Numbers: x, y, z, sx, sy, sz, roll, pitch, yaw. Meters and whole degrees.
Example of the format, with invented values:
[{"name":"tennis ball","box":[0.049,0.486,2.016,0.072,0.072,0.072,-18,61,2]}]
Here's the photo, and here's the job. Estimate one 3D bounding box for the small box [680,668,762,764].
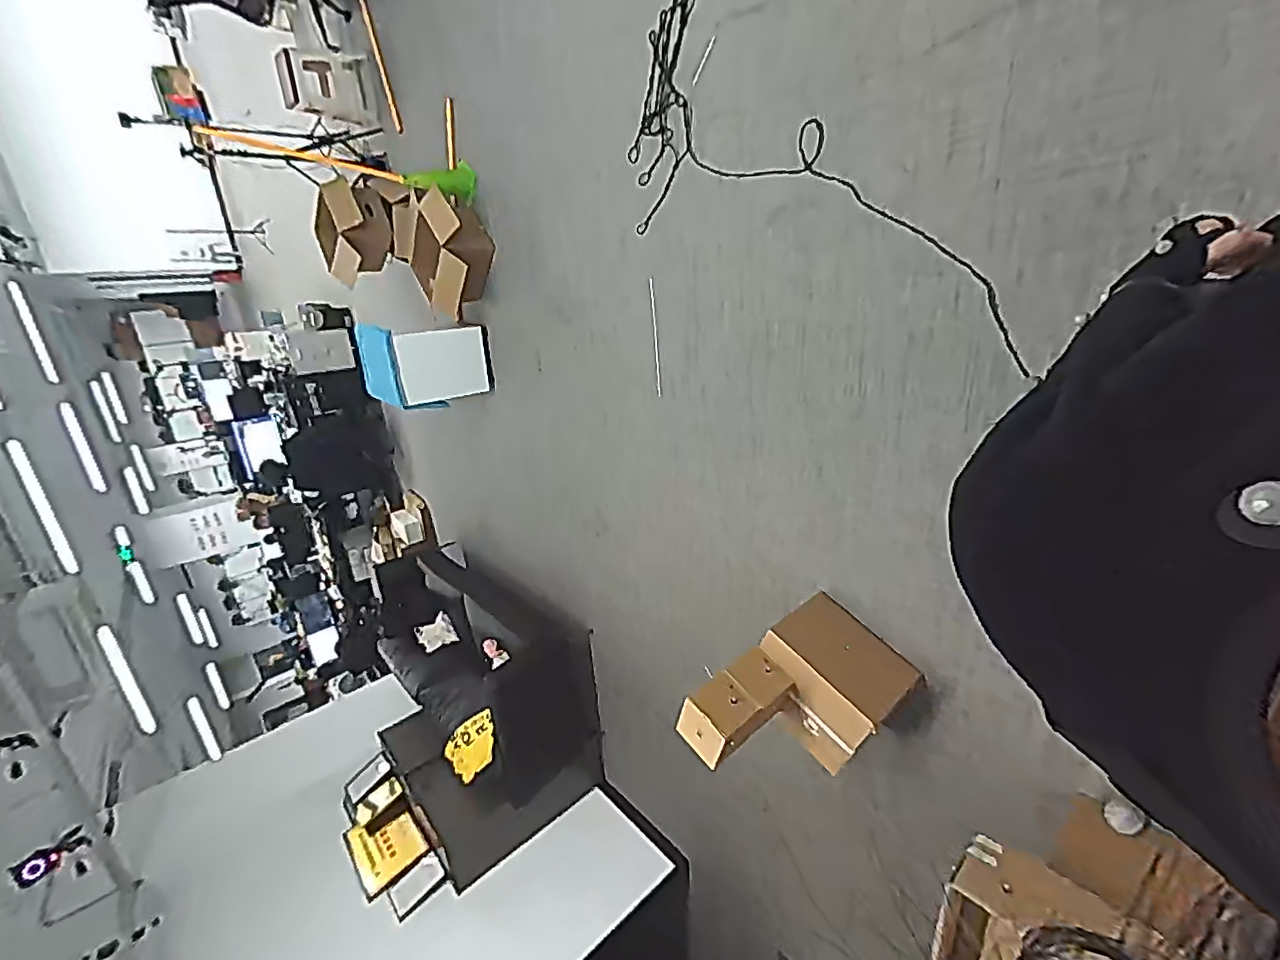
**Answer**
[{"name":"small box","box":[0.250,0.722,1.663,0.168,0.176,0.179,38,133,35]}]
